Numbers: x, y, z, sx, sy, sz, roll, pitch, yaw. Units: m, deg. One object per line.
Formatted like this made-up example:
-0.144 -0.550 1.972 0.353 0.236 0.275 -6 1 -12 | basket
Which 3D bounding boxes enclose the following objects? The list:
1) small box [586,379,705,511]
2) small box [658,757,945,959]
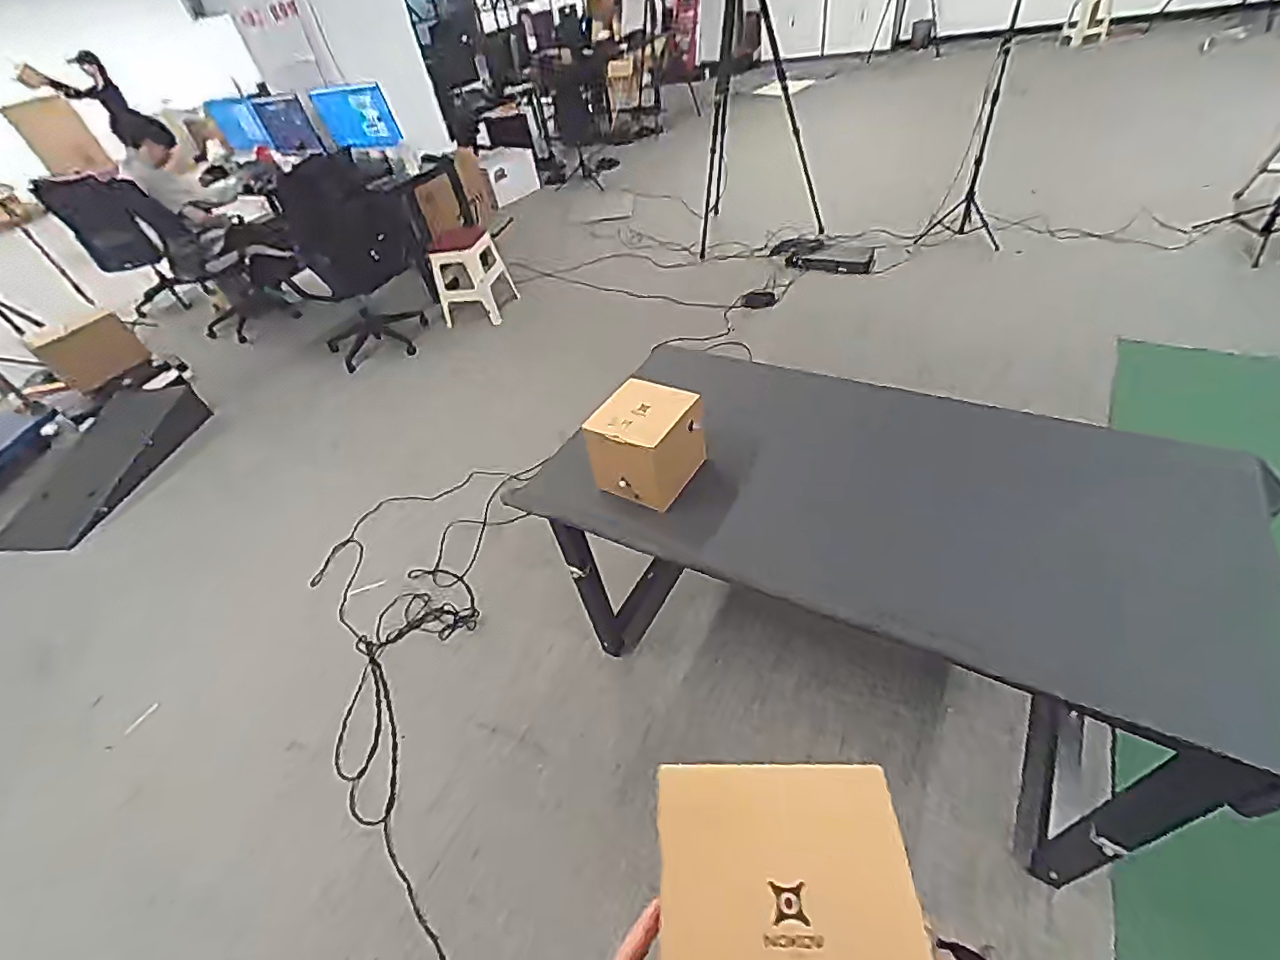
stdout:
0.019 -0.071 1.074 0.168 0.176 0.179 20 51 29 | small box
0.098 0.322 0.390 0.168 0.176 0.179 -1 45 0 | small box
